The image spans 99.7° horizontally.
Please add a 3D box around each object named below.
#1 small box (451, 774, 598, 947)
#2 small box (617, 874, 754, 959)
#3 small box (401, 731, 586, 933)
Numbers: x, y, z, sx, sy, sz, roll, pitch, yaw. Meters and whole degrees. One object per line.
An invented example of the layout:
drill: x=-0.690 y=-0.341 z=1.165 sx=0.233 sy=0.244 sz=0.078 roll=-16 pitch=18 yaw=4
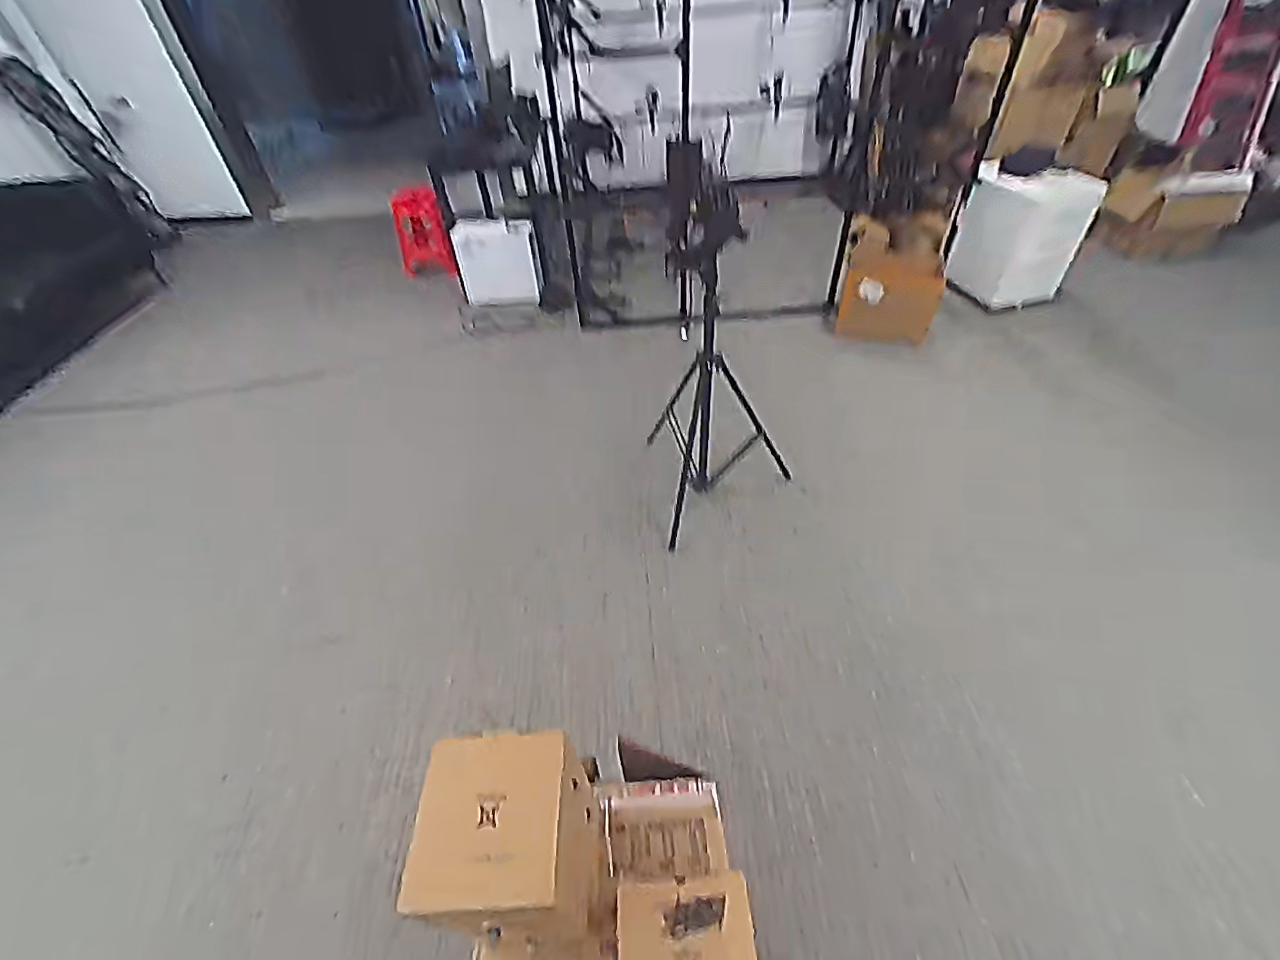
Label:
small box: x=-0.154 y=0.551 z=0.784 sx=0.168 sy=0.176 sz=0.179 roll=-5 pitch=45 yaw=1
small box: x=0.056 y=0.629 z=0.691 sx=0.168 sy=0.176 sz=0.179 roll=-3 pitch=45 yaw=0
small box: x=-0.163 y=0.435 z=0.669 sx=0.168 sy=0.176 sz=0.179 roll=-6 pitch=45 yaw=2
